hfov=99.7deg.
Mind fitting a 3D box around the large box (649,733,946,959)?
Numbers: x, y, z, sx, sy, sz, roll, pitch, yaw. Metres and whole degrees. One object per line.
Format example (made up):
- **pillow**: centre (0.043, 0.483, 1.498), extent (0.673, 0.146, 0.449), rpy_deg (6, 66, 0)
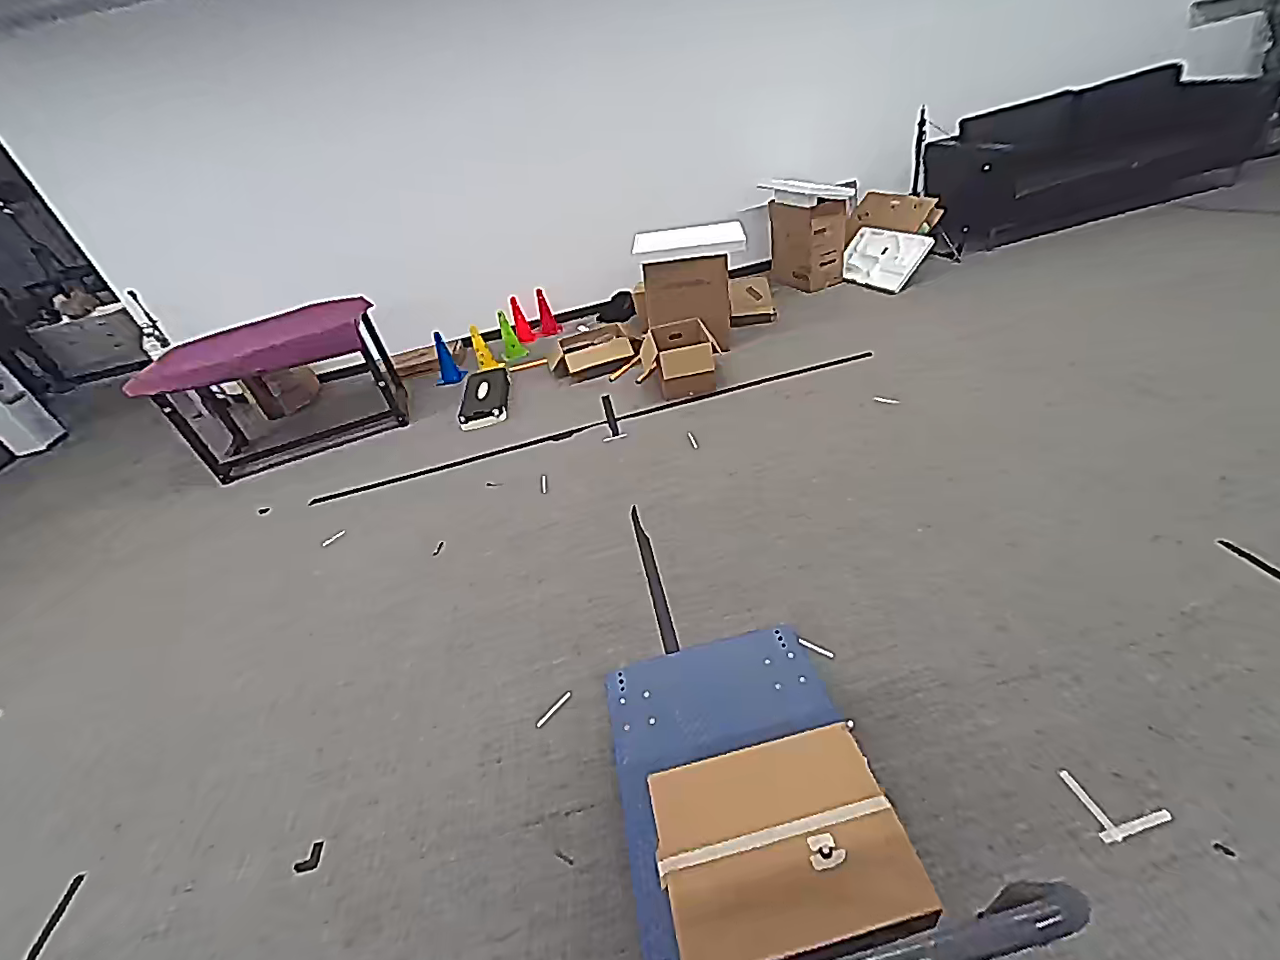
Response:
- **large box**: centre (0.259, 0.736, 0.989), extent (0.408, 0.320, 0.320), rpy_deg (-14, 36, -3)
